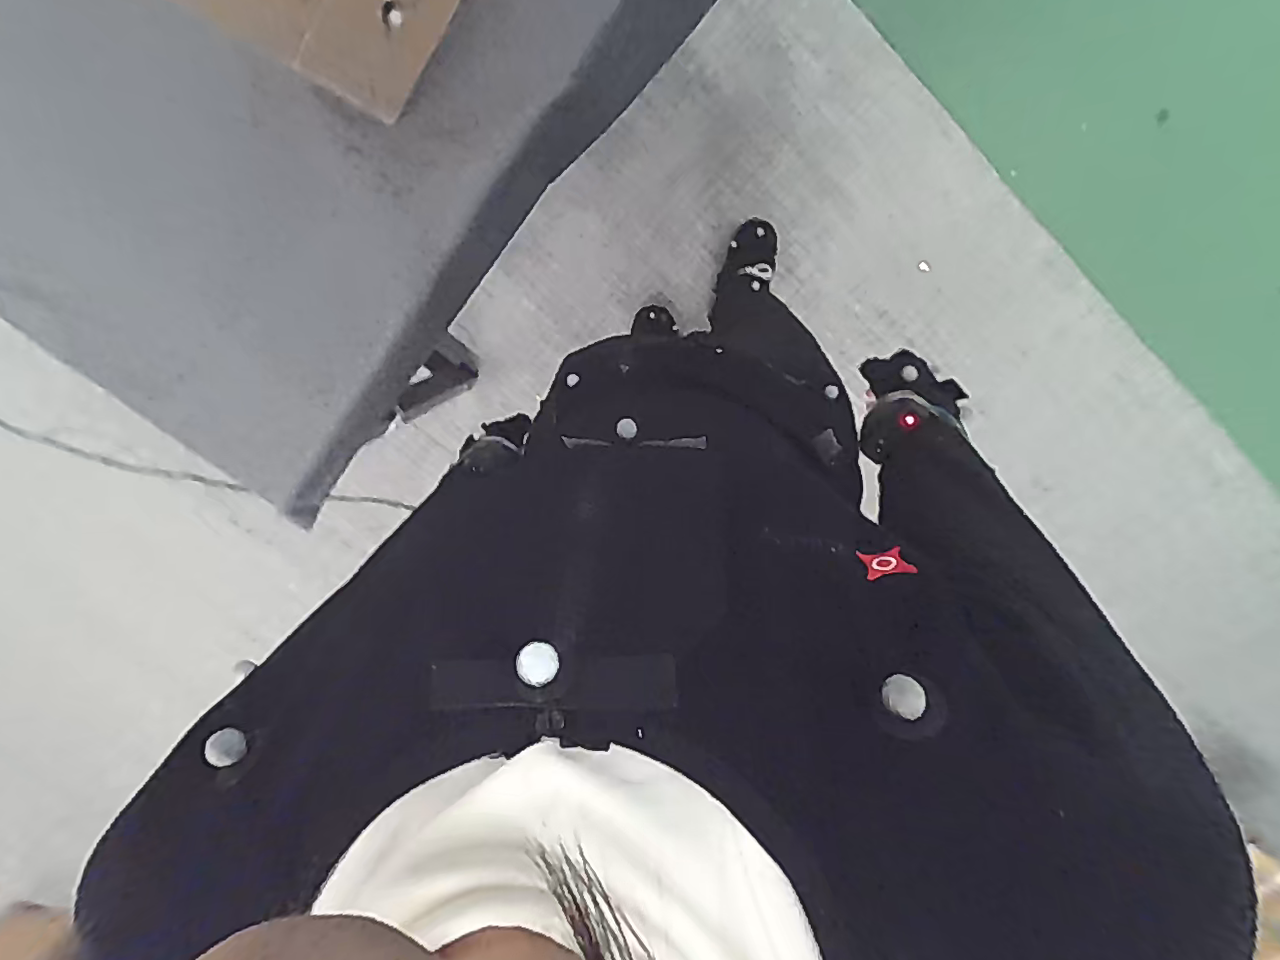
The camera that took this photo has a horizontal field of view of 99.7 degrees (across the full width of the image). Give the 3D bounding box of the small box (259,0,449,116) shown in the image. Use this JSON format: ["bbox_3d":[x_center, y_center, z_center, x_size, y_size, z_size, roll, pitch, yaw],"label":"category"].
[{"bbox_3d":[-0.273,-0.453,0.444,0.168,0.176,0.179,34,107,-9],"label":"small box"}]
